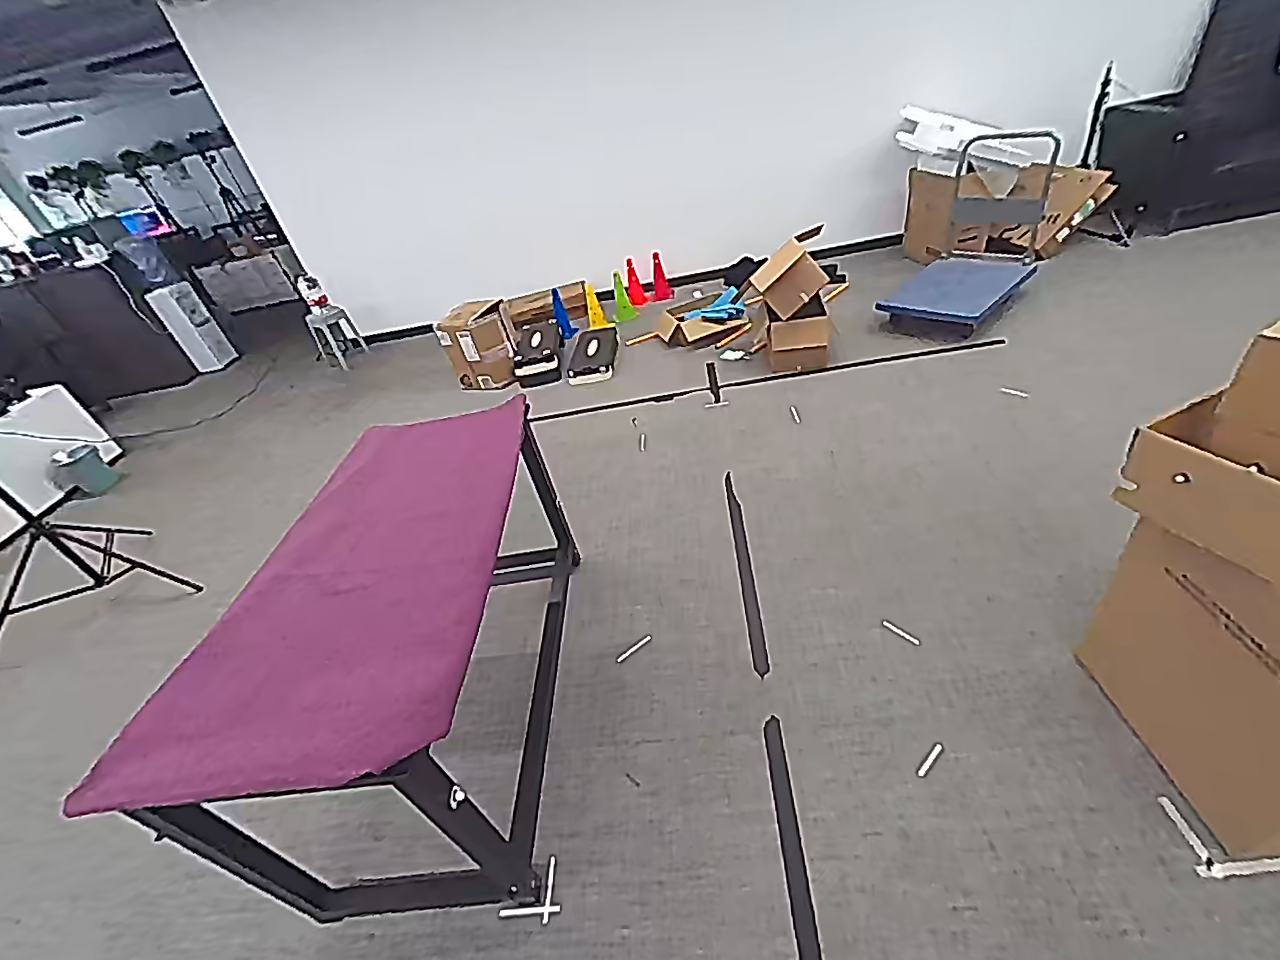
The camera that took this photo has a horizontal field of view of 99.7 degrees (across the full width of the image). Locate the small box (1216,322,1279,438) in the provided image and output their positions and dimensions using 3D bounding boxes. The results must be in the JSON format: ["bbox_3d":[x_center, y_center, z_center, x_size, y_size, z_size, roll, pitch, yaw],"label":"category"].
[{"bbox_3d":[1.179,-0.173,0.932,0.168,0.176,0.179,-24,37,-13],"label":"small box"}]
